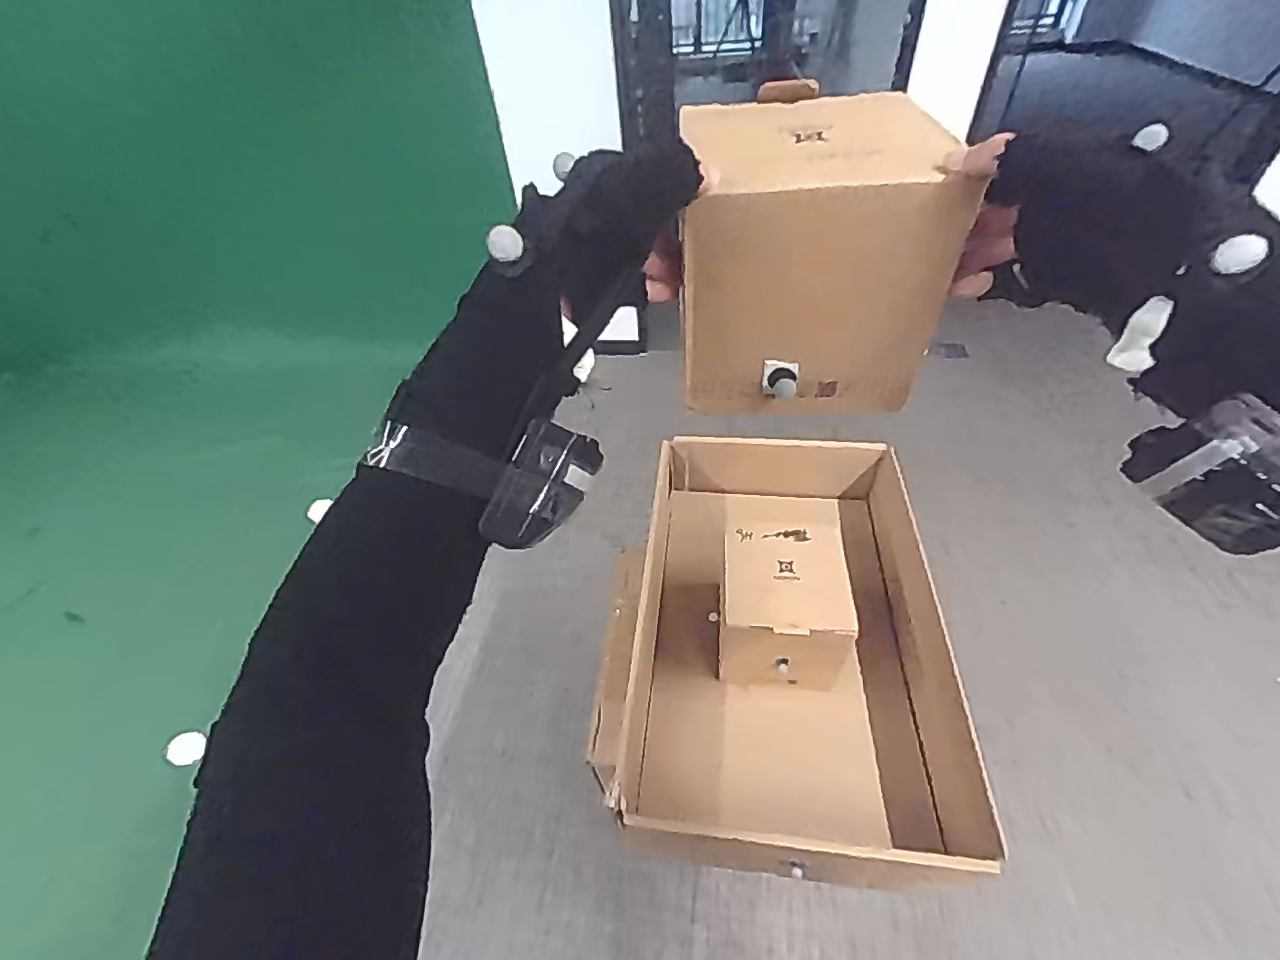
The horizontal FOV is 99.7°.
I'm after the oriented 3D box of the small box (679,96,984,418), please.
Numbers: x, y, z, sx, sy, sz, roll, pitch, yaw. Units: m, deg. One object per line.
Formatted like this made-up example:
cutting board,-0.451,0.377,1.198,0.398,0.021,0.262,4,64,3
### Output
small box,0.113,-0.166,0.412,0.168,0.176,0.179,-2,48,4
